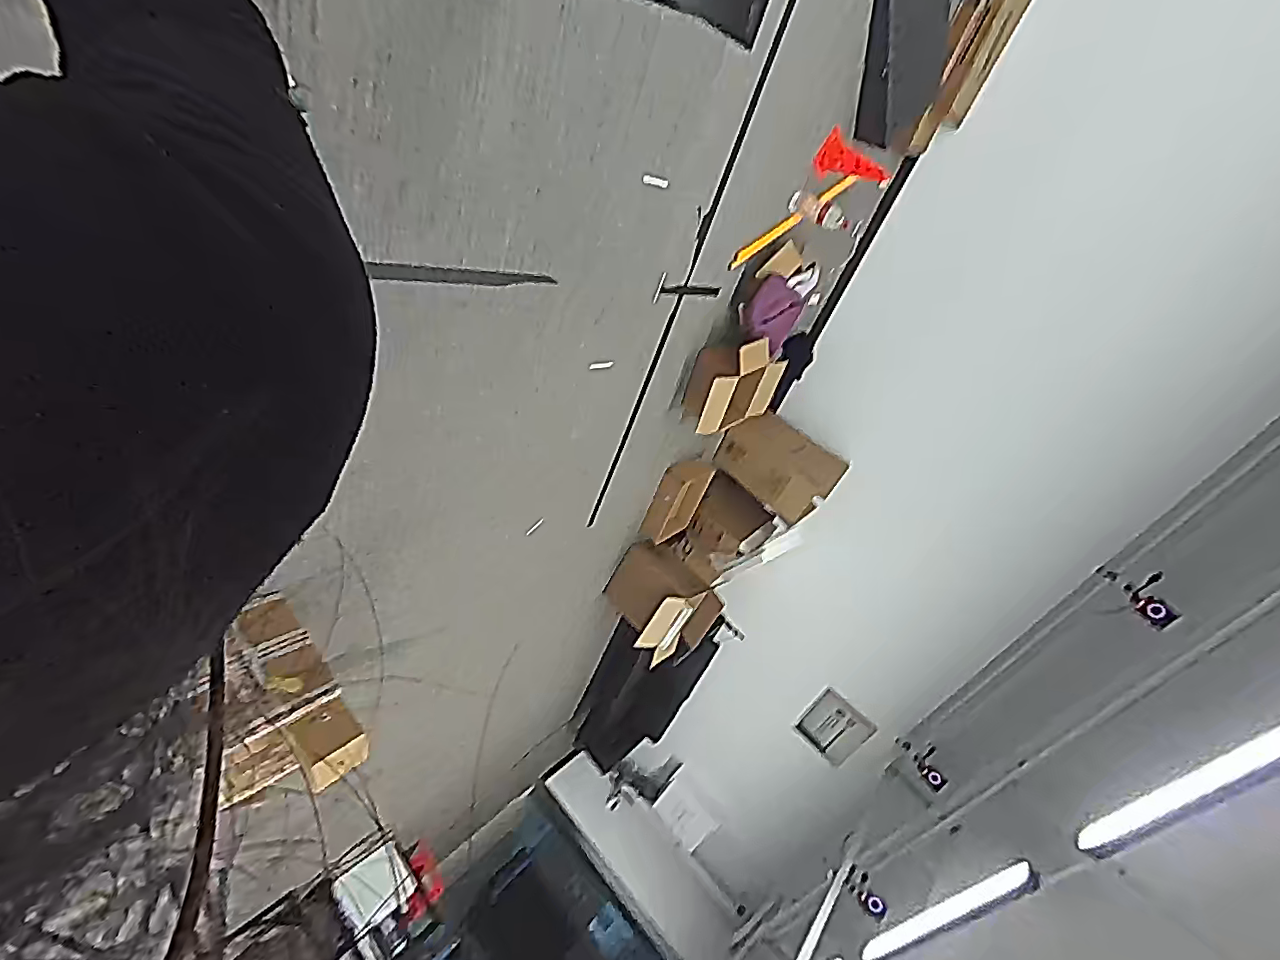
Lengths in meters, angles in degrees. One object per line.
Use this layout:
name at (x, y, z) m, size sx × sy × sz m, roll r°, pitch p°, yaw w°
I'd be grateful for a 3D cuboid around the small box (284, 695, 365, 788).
small box at (-1.013, 0.835, 1.741) m, size 0.168 × 0.176 × 0.179 m, roll -27°, pitch 143°, yaw -44°
